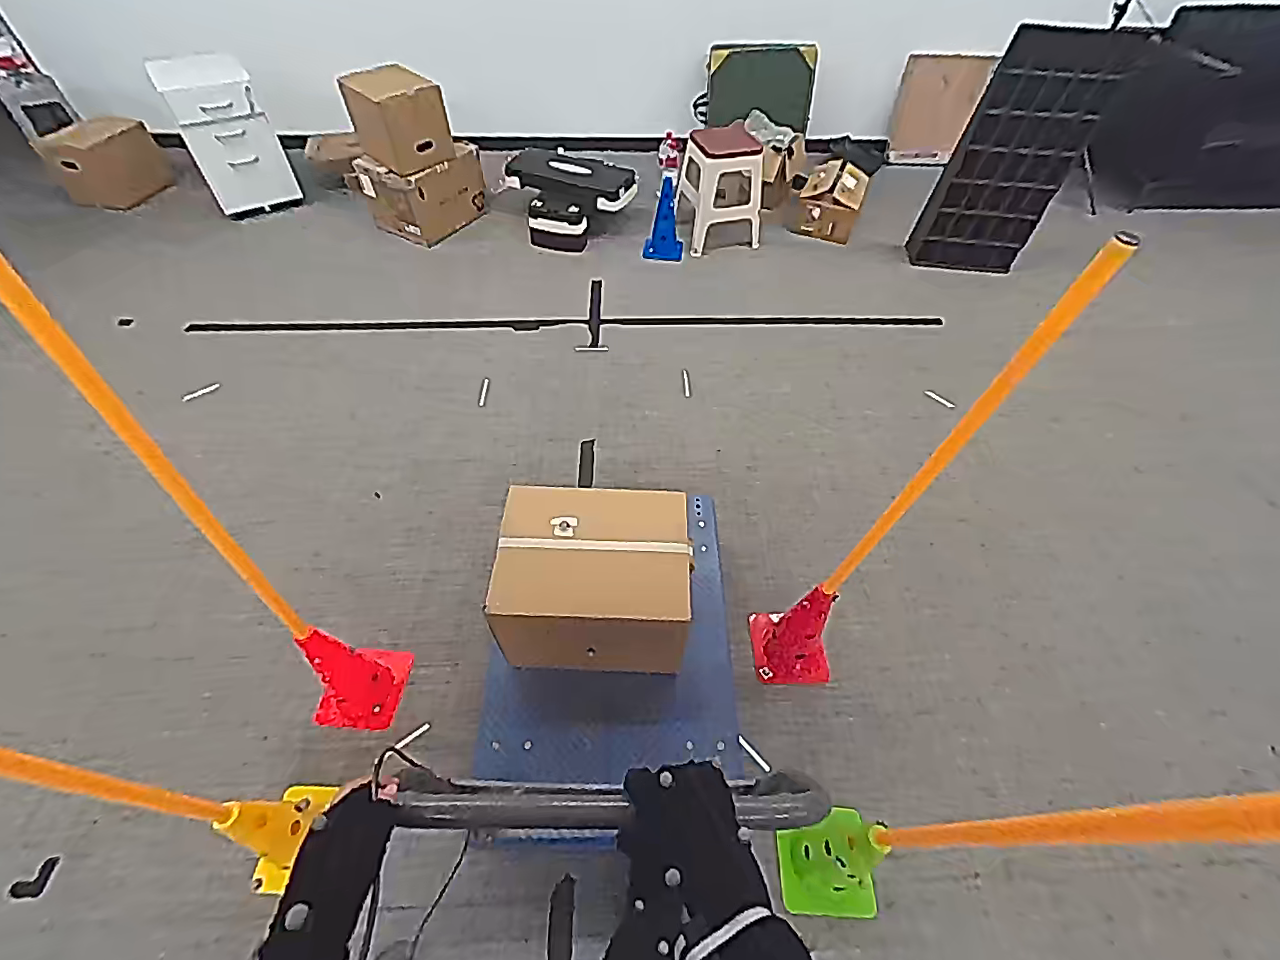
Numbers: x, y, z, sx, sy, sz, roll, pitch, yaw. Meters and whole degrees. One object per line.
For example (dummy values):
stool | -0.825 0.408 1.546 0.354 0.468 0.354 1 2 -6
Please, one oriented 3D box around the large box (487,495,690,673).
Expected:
large box | -0.098 0.248 1.260 0.408 0.320 0.320 2 52 1

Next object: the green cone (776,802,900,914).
green cone | 0.416 0.727 1.068 0.202 0.368 0.200 3 51 0

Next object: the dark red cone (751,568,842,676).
dark red cone | 0.423 0.338 1.359 0.201 0.394 0.202 1 51 -3

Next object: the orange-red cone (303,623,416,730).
orange-red cone | -0.705 0.431 1.284 0.198 0.360 0.199 6 50 2
